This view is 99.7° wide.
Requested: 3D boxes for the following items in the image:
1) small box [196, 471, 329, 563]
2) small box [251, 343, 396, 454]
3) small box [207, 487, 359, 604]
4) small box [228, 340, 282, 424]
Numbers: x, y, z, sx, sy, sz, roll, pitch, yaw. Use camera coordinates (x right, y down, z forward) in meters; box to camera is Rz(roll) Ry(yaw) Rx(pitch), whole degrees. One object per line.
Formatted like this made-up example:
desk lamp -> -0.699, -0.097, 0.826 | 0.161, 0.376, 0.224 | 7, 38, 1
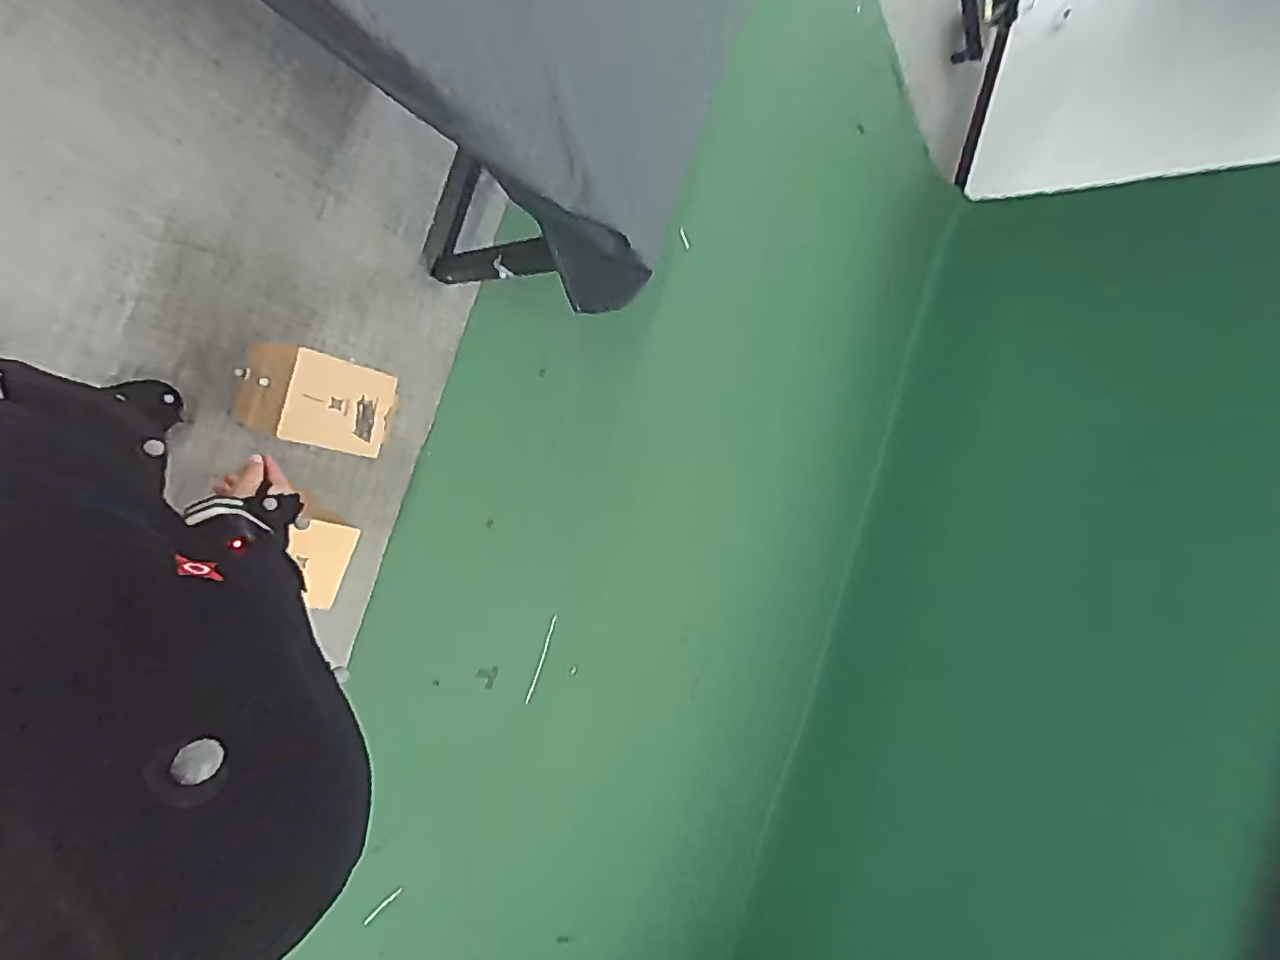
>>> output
small box -> -0.800, 0.088, 1.142 | 0.179, 0.176, 0.168 | 23, 85, -46
small box -> -0.606, -0.158, 1.034 | 0.179, 0.176, 0.168 | 15, 89, -48
small box -> -0.683, 0.123, 1.035 | 0.179, 0.176, 0.168 | 25, 83, -48
small box -> -0.729, -0.189, 1.139 | 0.179, 0.176, 0.168 | 16, 89, -47
